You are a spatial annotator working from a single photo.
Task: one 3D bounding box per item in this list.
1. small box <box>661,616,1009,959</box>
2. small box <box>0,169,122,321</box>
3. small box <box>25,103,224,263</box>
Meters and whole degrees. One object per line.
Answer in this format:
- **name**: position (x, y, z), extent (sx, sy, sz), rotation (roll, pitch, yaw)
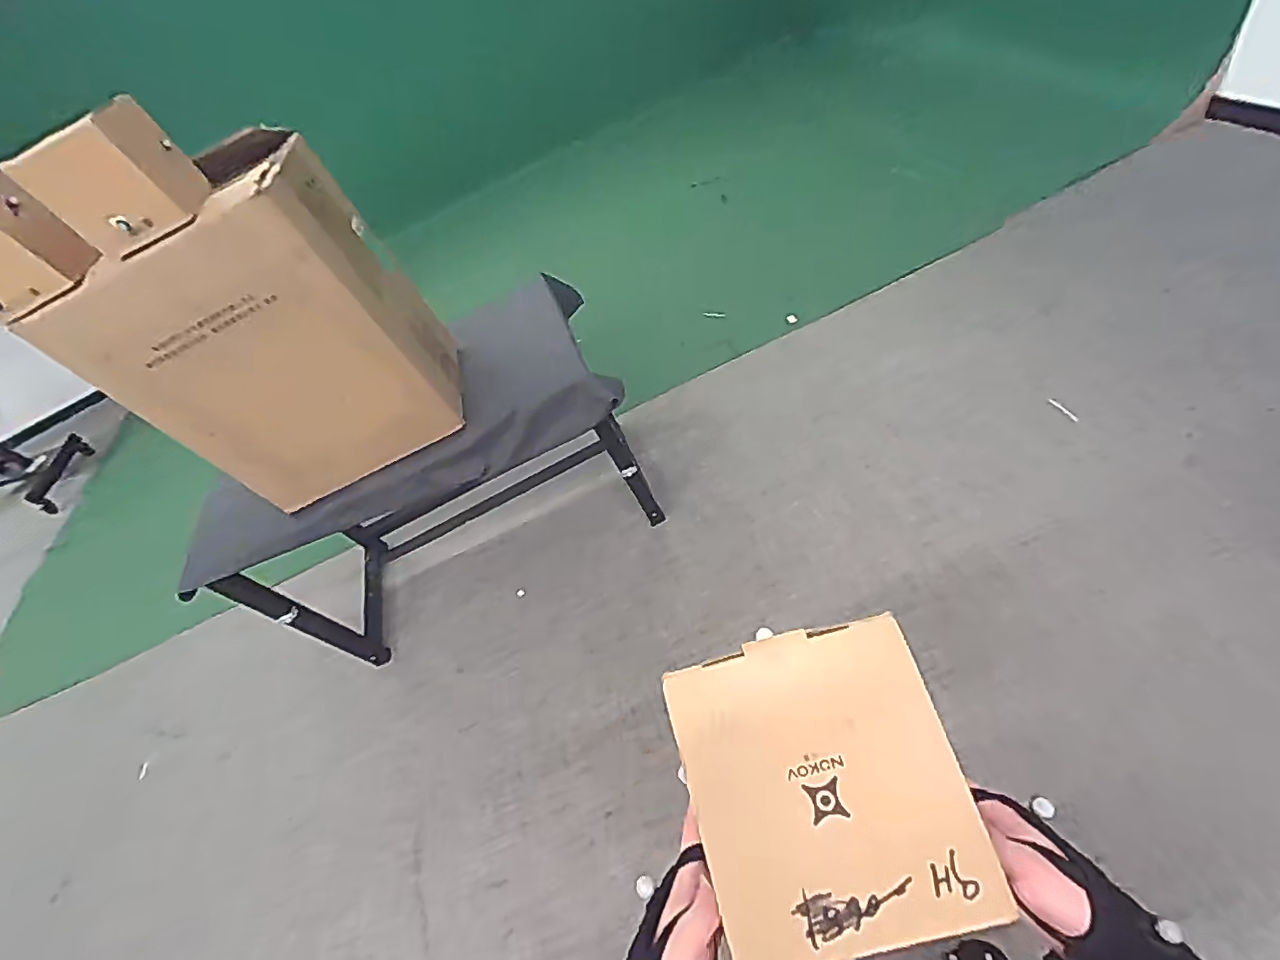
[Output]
- **small box**: position (0.124, 0.217, 0.412), extent (0.168, 0.176, 0.179), rotation (-17, 69, 5)
- **small box**: position (-1.100, -0.411, 0.969), extent (0.168, 0.176, 0.179), rotation (-25, 48, 6)
- **small box**: position (-0.885, -0.518, 0.953), extent (0.168, 0.176, 0.179), rotation (-26, 49, 4)
